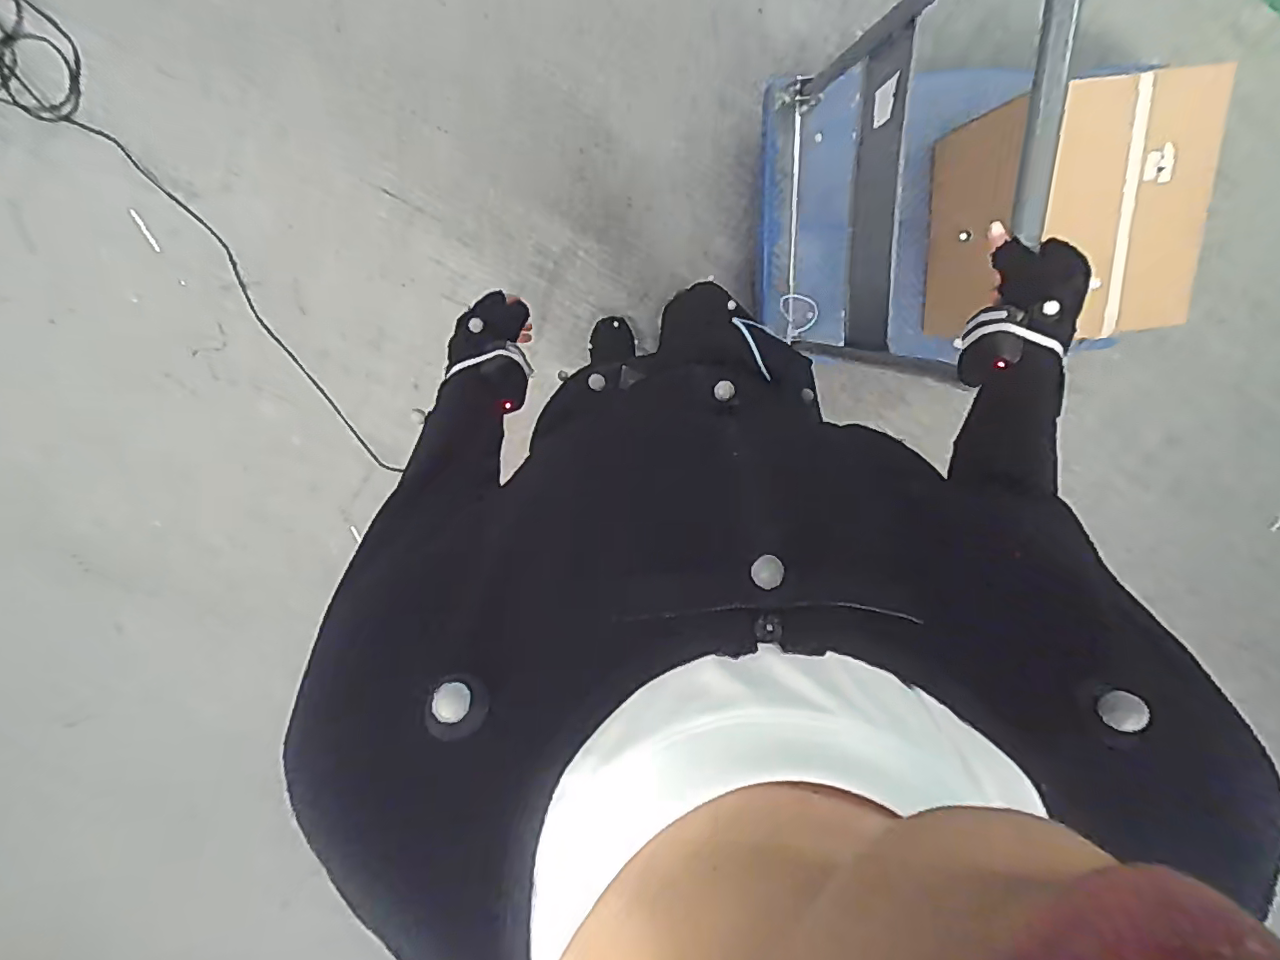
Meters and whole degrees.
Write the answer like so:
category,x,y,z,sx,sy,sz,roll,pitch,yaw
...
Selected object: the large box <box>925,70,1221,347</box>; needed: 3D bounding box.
category,x,y,z,sx,sy,sz,roll,pitch,yaw
large box,0.791,-0.487,1.055,0.320,0.320,0.408,-7,107,-2
